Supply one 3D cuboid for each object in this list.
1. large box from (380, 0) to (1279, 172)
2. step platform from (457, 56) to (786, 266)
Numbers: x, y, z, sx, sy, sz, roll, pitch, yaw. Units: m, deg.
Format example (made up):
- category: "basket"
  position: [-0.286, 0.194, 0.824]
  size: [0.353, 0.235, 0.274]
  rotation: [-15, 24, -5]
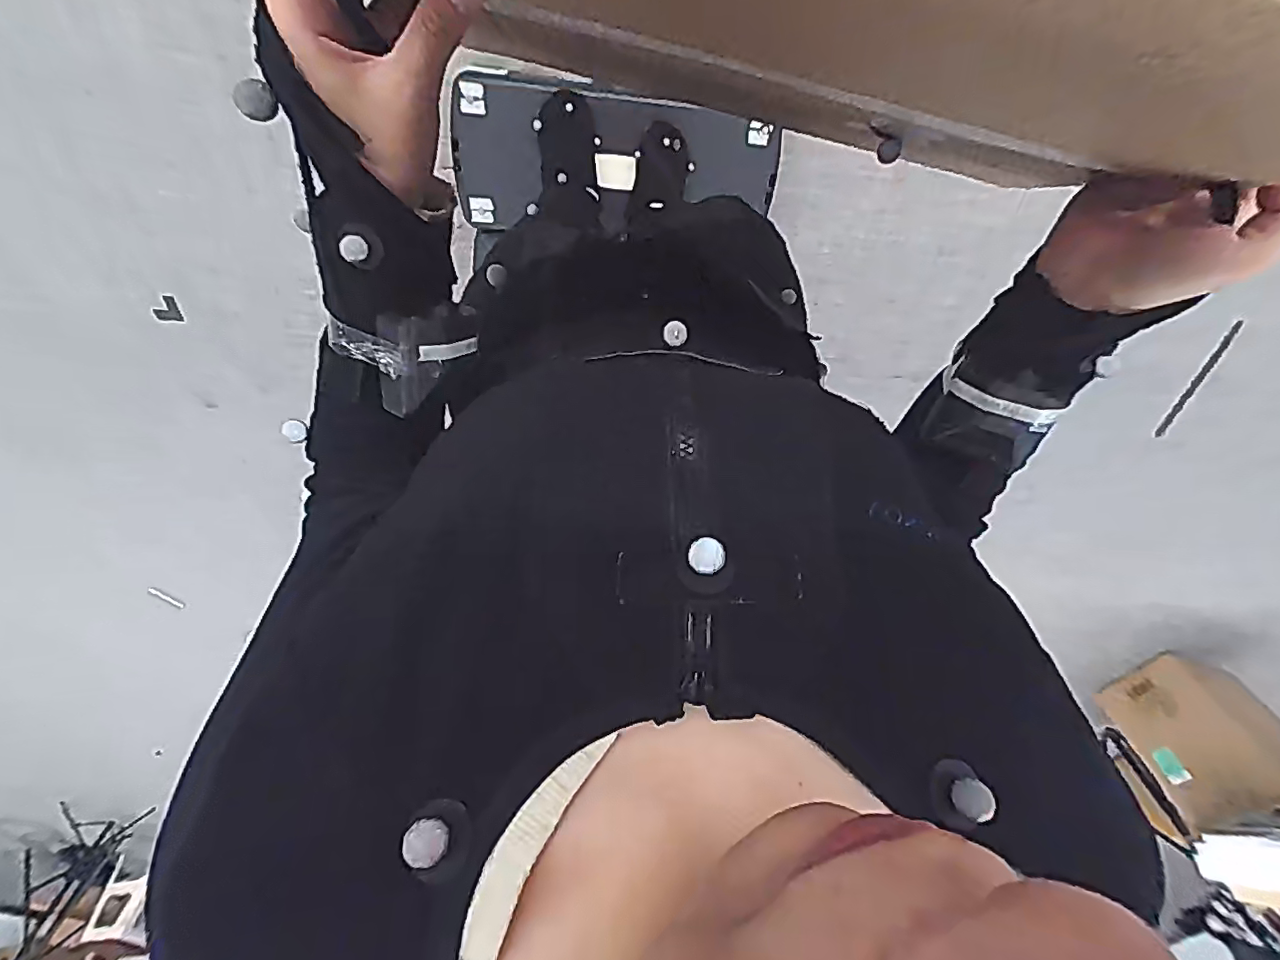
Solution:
- category: "large box"
  position: [0.093, -0.319, 0.172]
  size: [0.408, 0.320, 0.320]
  rotation: [9, 118, -5]
- category: "step platform"
  position: [-0.041, -0.680, 1.179]
  size: [0.684, 0.204, 0.286]
  rotation: [7, 127, -8]
